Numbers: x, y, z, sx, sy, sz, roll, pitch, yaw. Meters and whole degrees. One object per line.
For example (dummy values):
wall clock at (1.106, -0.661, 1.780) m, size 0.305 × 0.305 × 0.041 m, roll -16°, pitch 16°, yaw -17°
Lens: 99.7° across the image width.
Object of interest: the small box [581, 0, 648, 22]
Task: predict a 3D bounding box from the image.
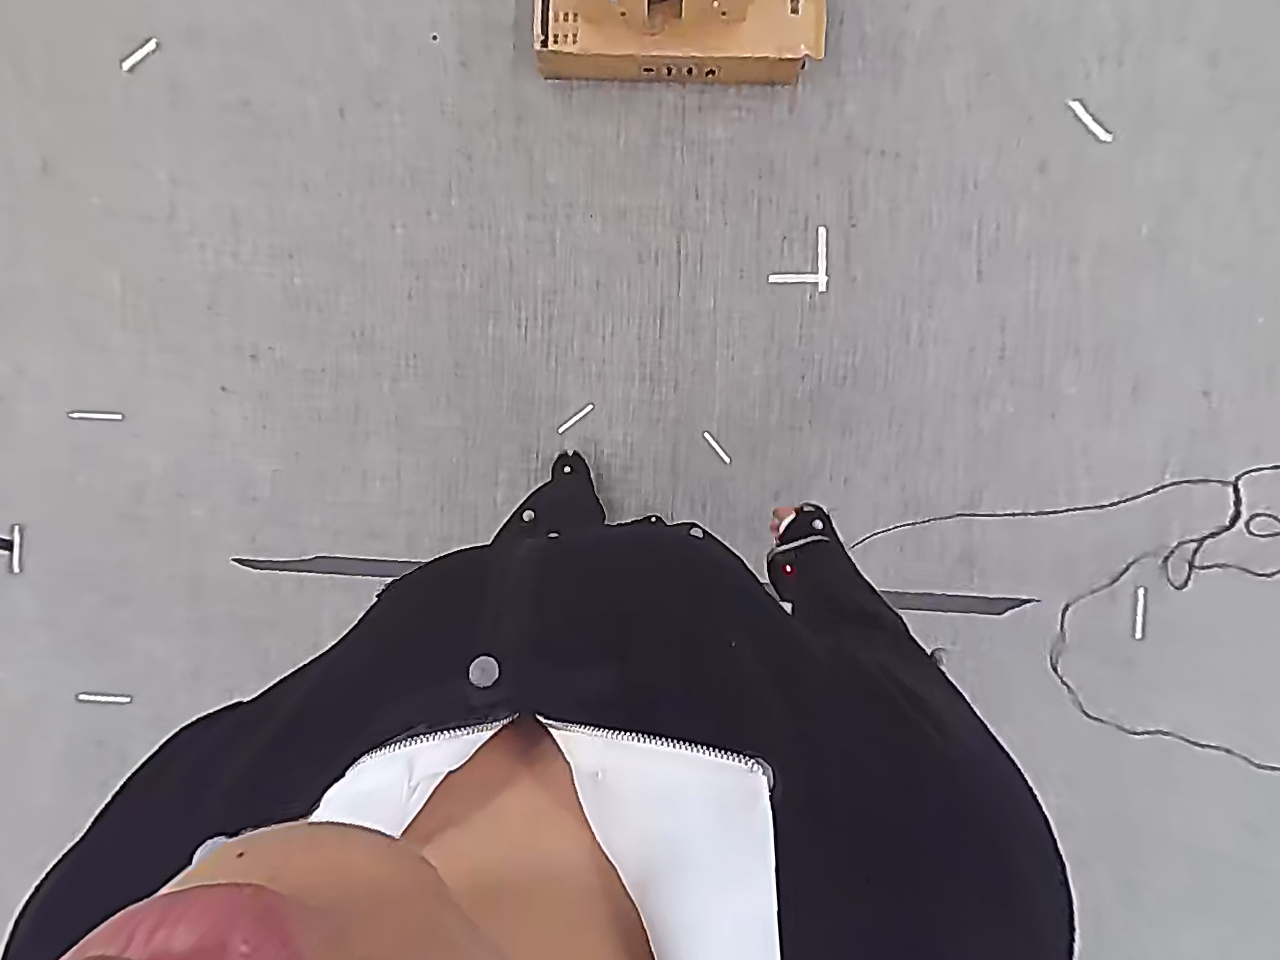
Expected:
small box at (-0.063, -1.241, 1.289) m, size 0.168 × 0.176 × 0.179 m, roll 0°, pitch 91°, yaw 1°

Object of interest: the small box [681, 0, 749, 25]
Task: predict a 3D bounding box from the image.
small box at (0.185, -1.240, 1.284) m, size 0.168 × 0.176 × 0.179 m, roll 1°, pitch 90°, yaw 2°
